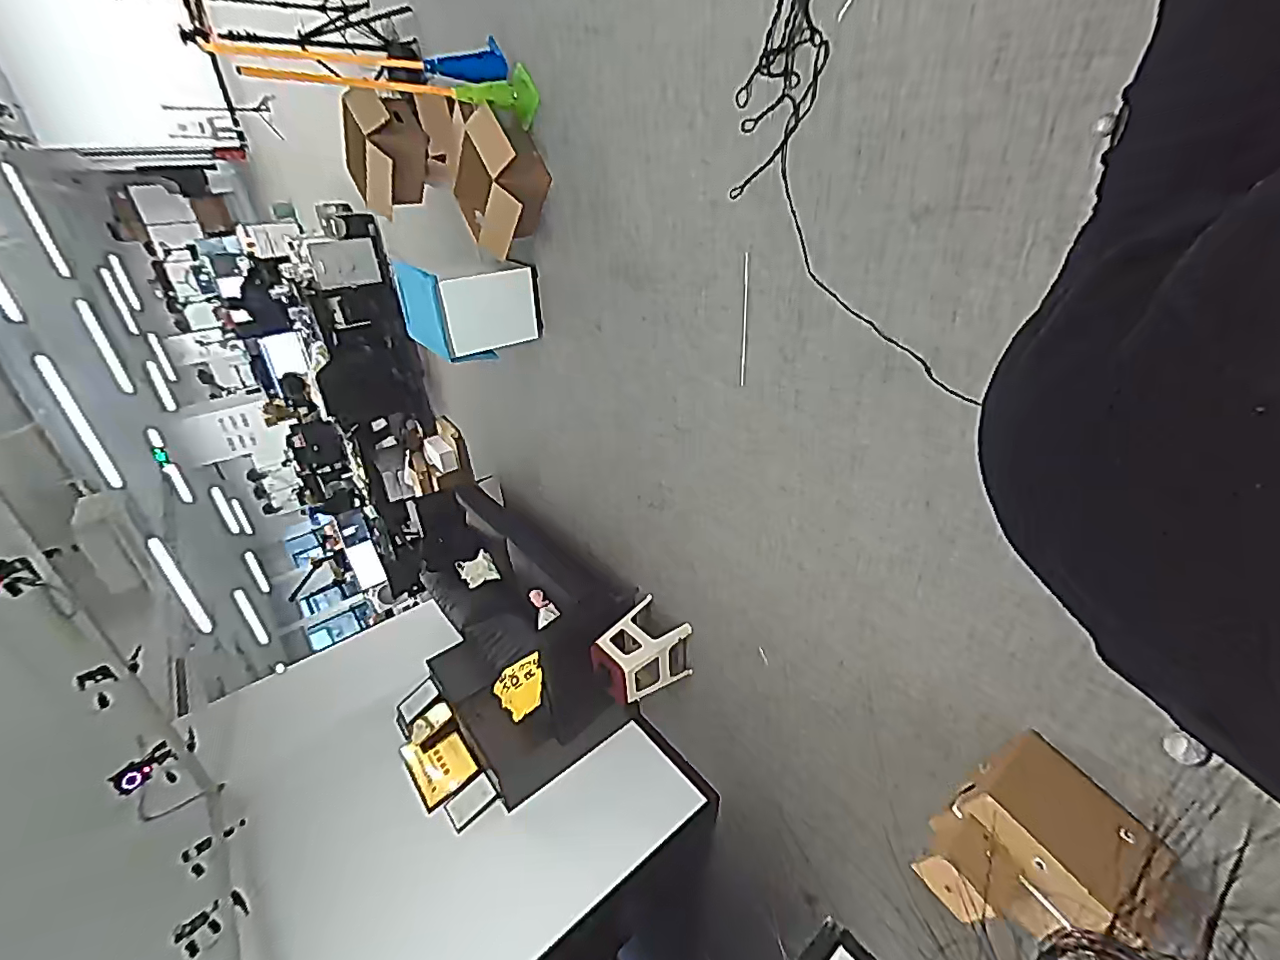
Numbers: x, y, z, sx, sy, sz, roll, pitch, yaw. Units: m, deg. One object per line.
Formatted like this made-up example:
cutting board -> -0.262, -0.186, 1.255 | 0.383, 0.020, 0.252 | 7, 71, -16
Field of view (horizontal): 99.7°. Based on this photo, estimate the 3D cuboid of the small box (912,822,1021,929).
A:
small box -> 0.912, 1.100, 1.508 | 0.168, 0.176, 0.179 | 46, 144, 30
